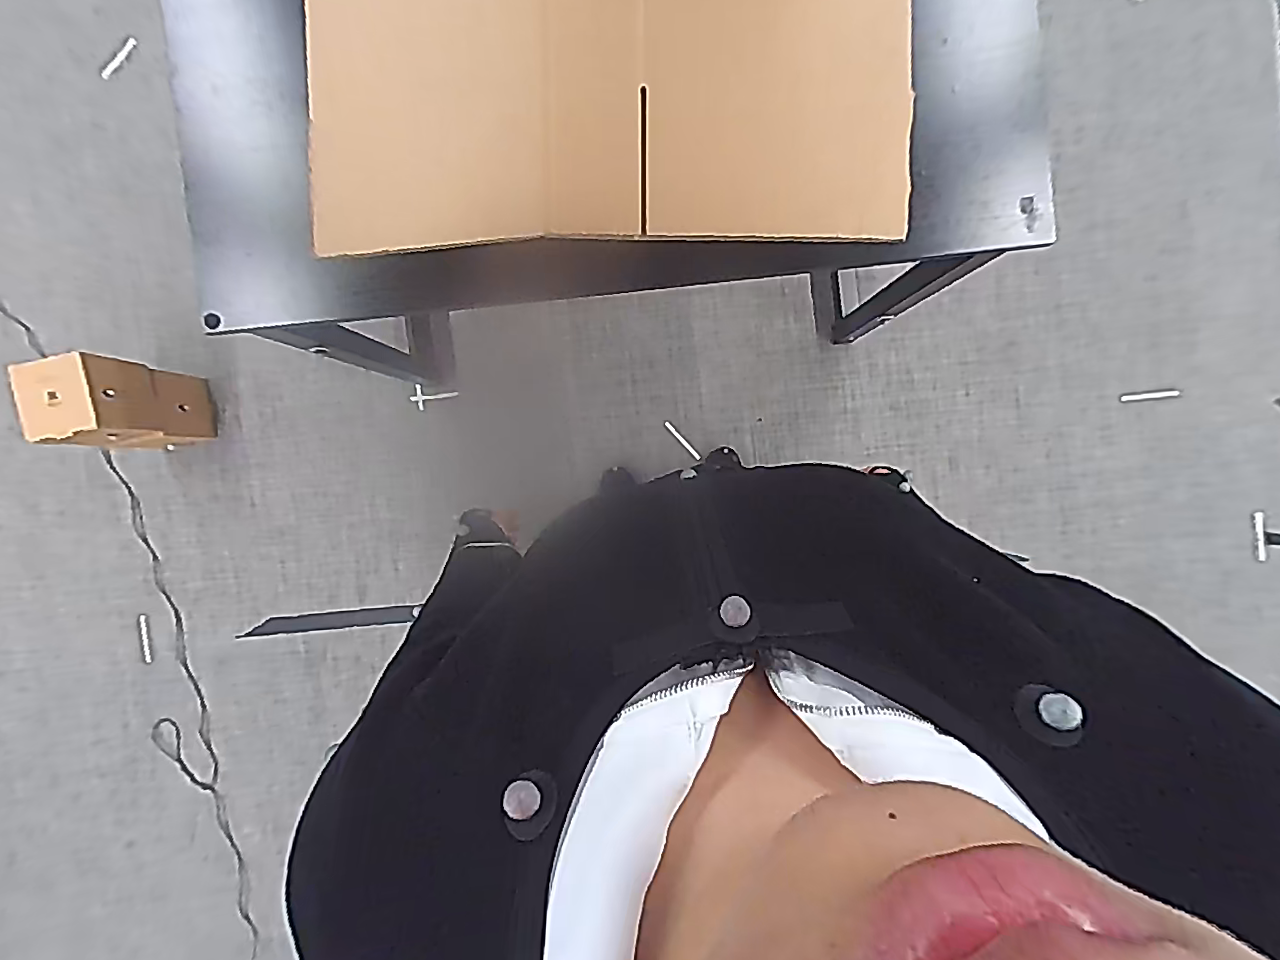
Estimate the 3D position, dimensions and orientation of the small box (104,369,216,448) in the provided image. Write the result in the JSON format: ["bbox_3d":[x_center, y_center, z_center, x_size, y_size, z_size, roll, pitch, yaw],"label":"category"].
[{"bbox_3d":[-1.281,-0.183,1.437,0.168,0.176,0.179,-10,92,1],"label":"small box"}]

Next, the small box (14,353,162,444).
[{"bbox_3d":[-1.285,-0.184,1.274,0.168,0.176,0.179,-12,91,1],"label":"small box"}]
